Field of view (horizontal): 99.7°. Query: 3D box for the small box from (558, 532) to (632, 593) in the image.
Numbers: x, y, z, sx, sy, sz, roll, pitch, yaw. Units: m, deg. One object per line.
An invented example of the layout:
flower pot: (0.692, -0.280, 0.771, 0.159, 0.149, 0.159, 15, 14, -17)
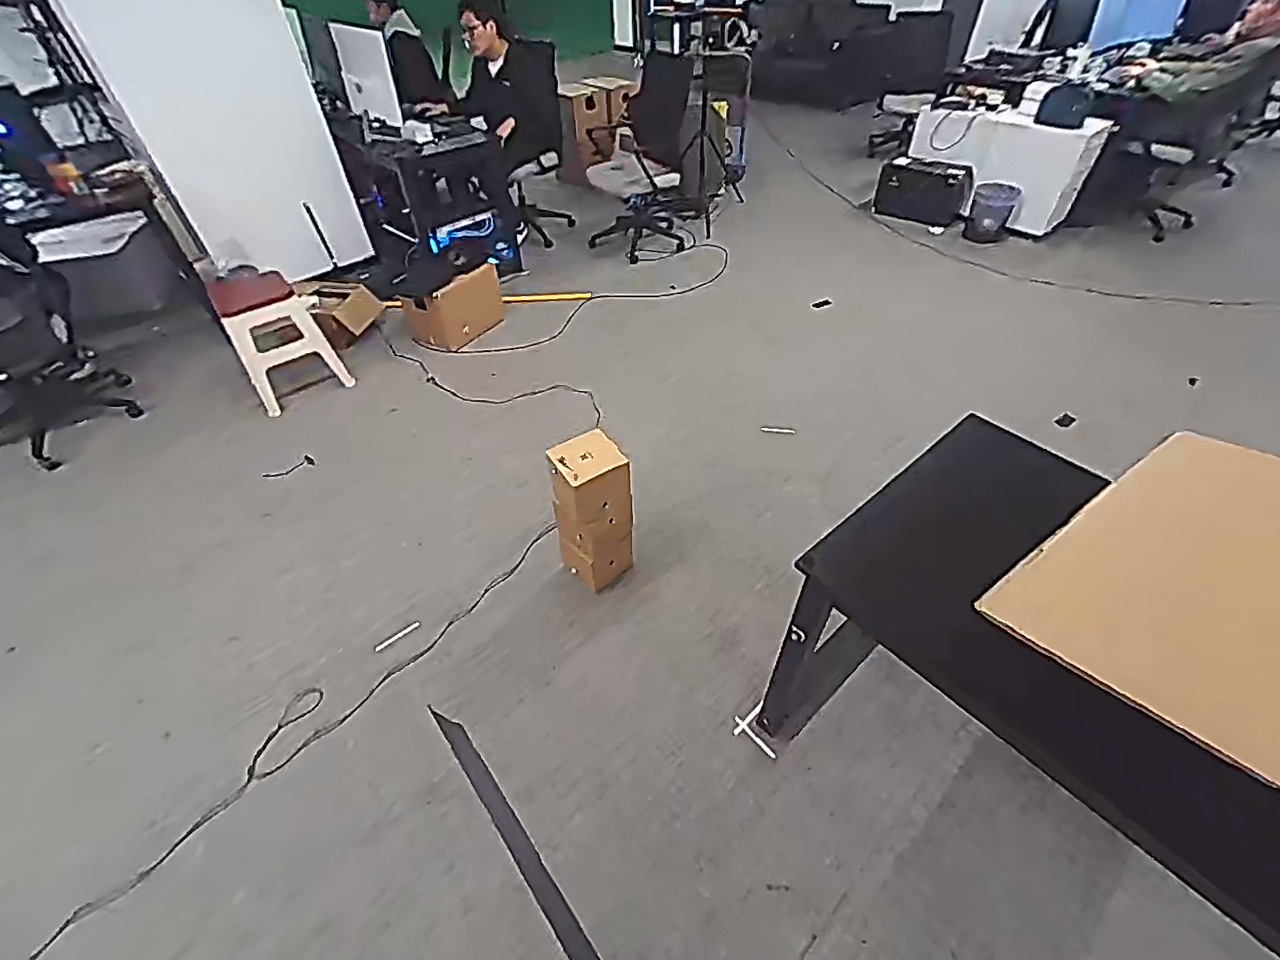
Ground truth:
small box: (-0.141, 0.230, 1.759, 0.179, 0.176, 0.168, -36, 54, -28)

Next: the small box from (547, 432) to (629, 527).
small box: (-0.145, -0.001, 1.528, 0.179, 0.176, 0.168, -26, 50, -23)

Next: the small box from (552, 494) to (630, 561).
small box: (-0.142, 0.112, 1.646, 0.168, 0.176, 0.179, 33, 54, 28)
